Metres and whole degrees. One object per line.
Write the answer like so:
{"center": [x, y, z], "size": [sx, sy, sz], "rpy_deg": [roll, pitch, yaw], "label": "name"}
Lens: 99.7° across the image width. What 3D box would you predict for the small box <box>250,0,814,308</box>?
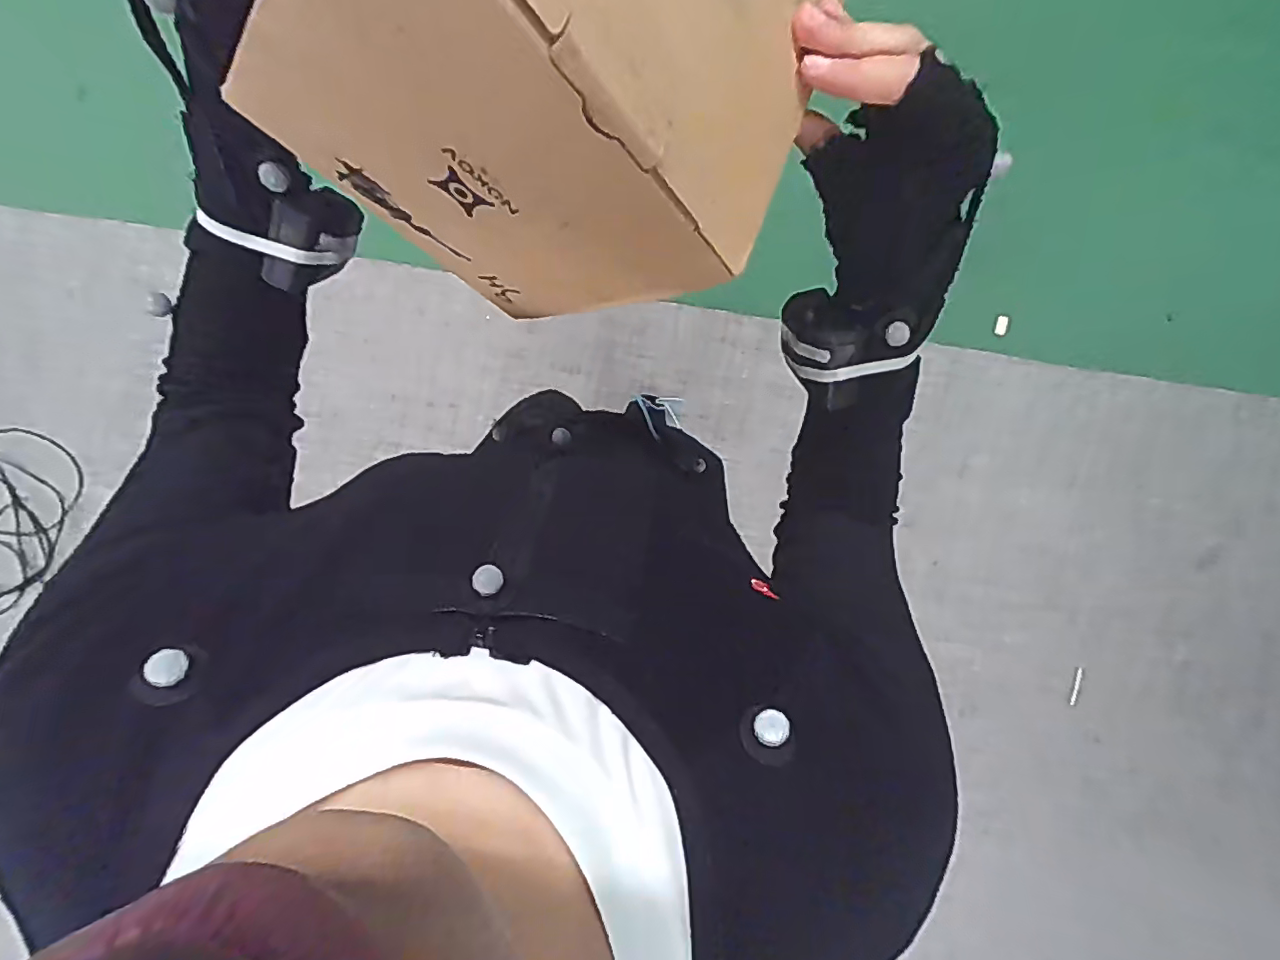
{"center": [-0.036, -0.209, 0.254], "size": [0.168, 0.179, 0.176], "rpy_deg": [33, 73, -43], "label": "small box"}
